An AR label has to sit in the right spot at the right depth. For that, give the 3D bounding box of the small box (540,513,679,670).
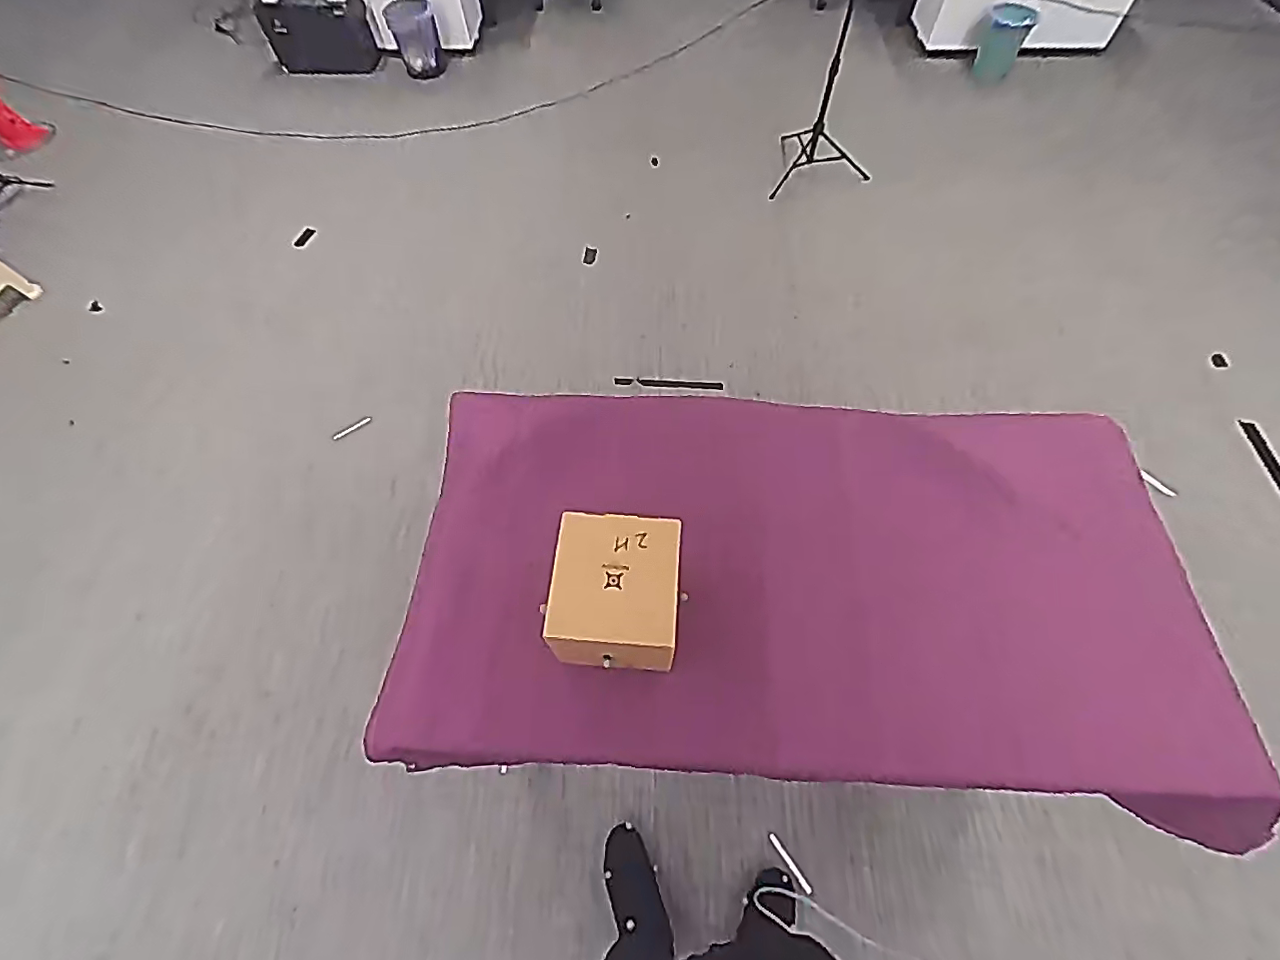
[{"bbox_3d":[-0.034,0.165,0.770,0.168,0.176,0.179,4,61,3],"label":"small box"}]
